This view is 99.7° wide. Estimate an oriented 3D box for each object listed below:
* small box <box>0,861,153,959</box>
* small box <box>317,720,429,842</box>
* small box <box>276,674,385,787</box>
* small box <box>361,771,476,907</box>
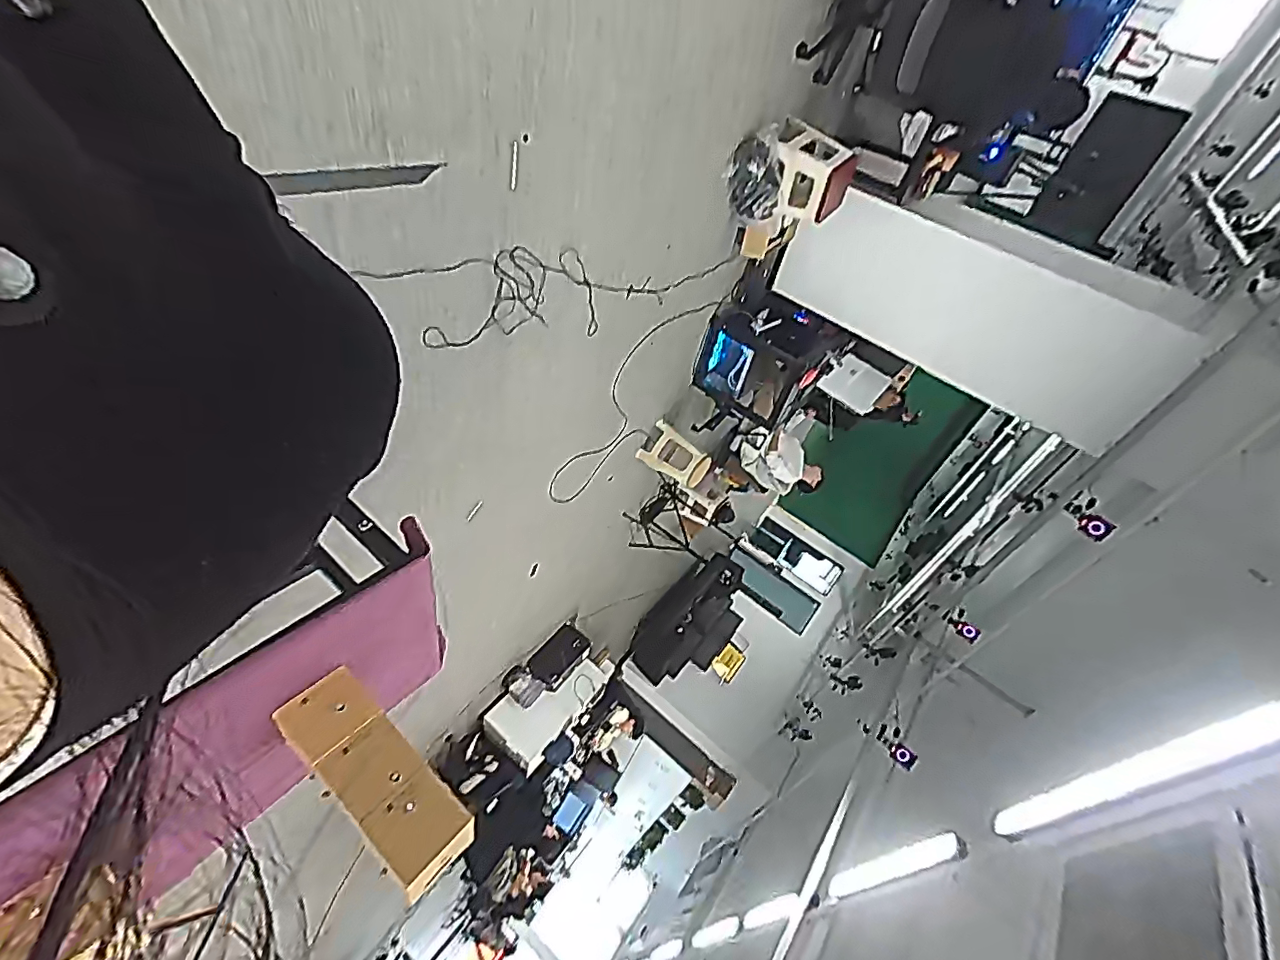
[{"bbox_3d":[-1.038,0.839,0.976,0.168,0.176,0.179,-35,153,-47],"label":"small box"},{"bbox_3d":[-0.610,0.693,1.249,0.168,0.176,0.179,-37,155,-42],"label":"small box"},{"bbox_3d":[-0.735,0.599,1.298,0.168,0.176,0.179,-37,154,-42],"label":"small box"},{"bbox_3d":[-0.484,0.783,1.191,0.168,0.176,0.179,-37,153,-42],"label":"small box"}]
